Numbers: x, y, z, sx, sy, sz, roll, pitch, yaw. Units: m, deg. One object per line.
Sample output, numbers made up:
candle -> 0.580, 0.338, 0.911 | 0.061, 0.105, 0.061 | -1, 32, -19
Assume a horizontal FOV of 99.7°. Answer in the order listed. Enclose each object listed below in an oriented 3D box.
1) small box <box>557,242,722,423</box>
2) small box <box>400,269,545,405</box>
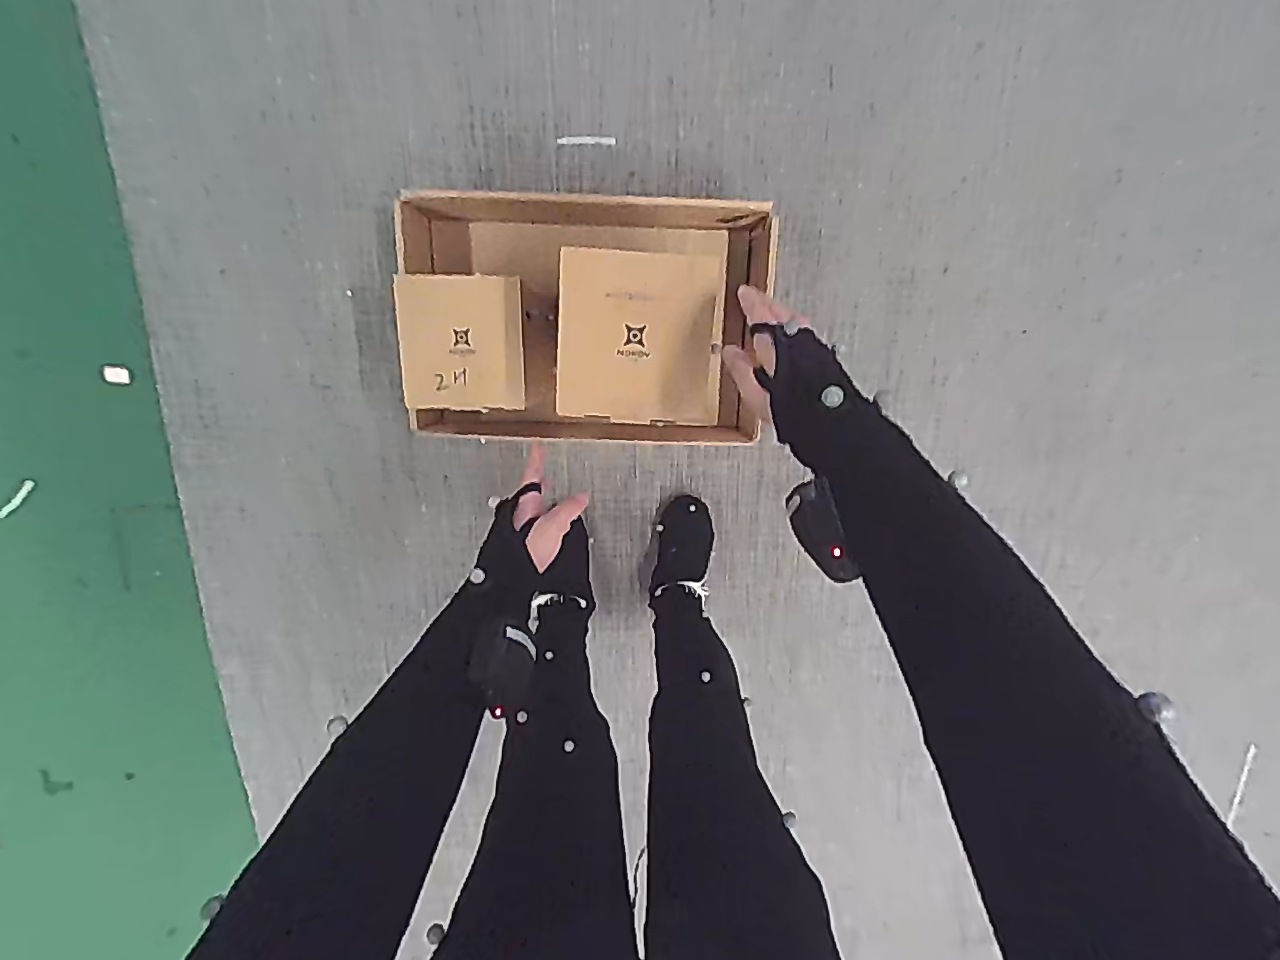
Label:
small box -> -0.001, -0.174, 0.649 | 0.168, 0.176, 0.179 | 4, 105, 0
small box -> -0.236, -0.206, 0.801 | 0.168, 0.176, 0.179 | 0, 104, -2
